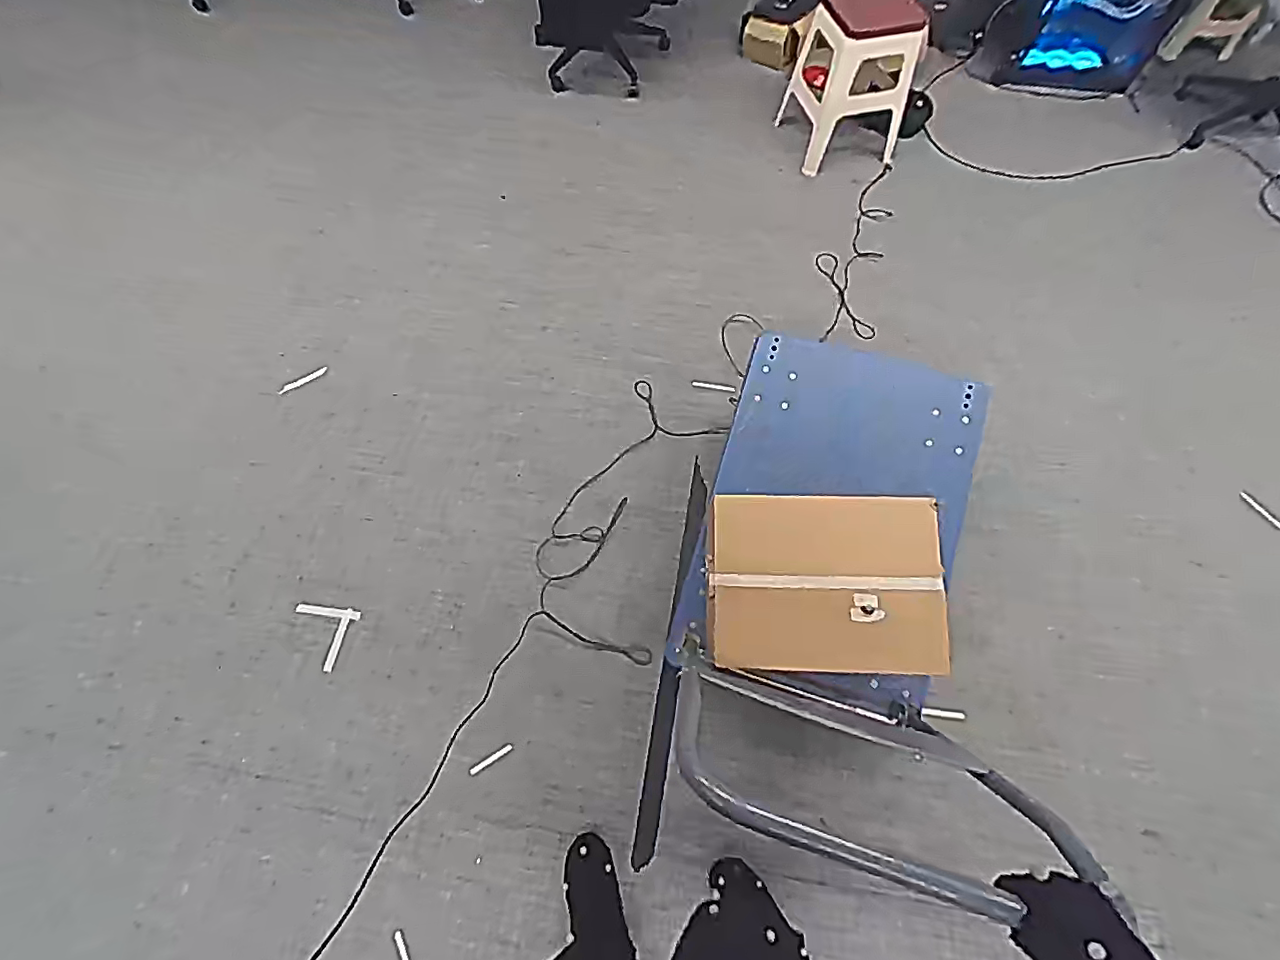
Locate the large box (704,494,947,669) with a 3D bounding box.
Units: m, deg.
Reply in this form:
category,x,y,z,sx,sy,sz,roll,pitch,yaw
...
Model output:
category,x,y,z,sx,sy,sz,roll,pitch,yaw
large box,0.345,0.209,1.124,0.408,0.320,0.320,0,79,4
